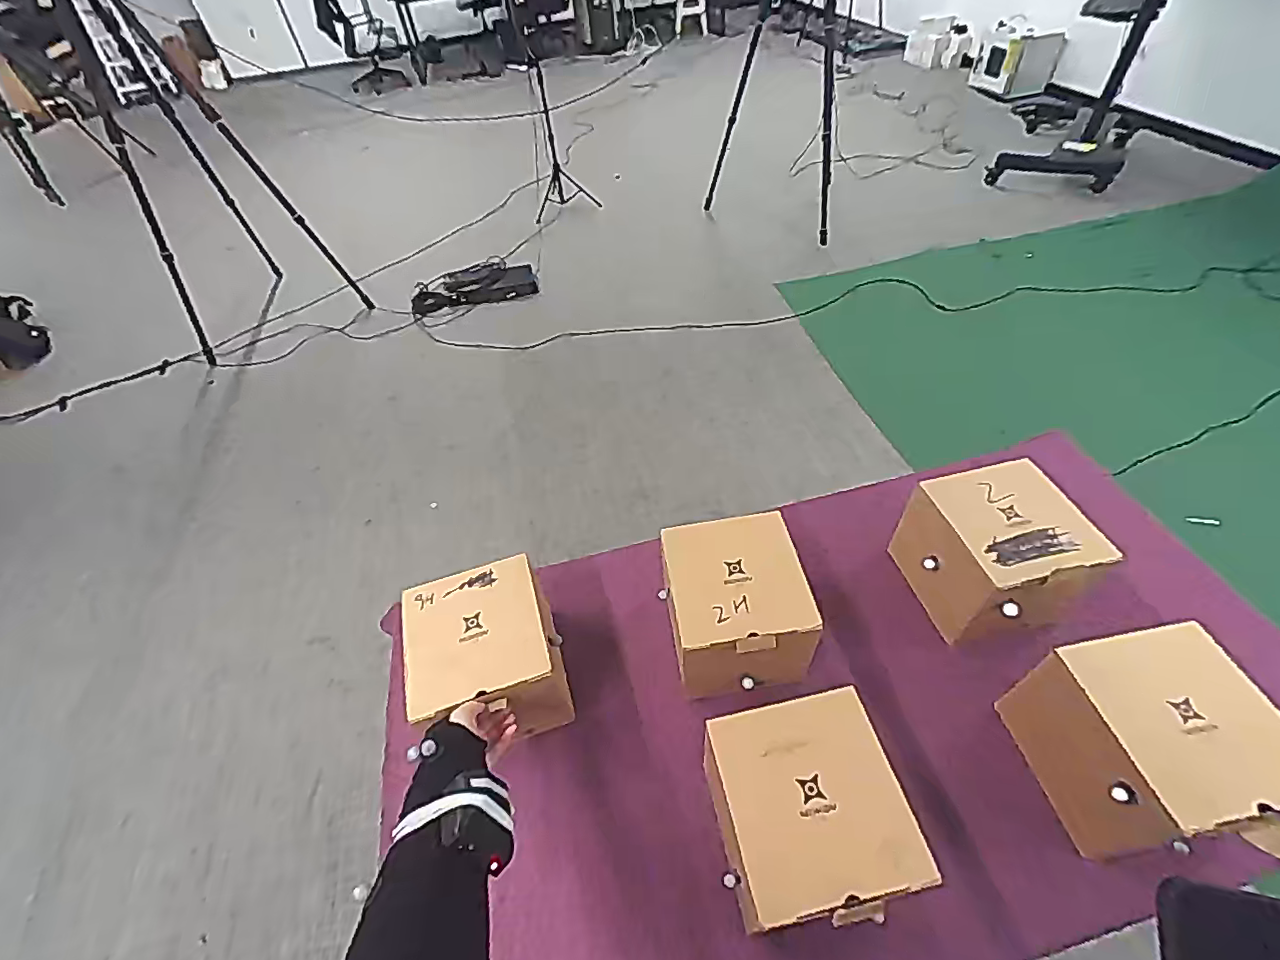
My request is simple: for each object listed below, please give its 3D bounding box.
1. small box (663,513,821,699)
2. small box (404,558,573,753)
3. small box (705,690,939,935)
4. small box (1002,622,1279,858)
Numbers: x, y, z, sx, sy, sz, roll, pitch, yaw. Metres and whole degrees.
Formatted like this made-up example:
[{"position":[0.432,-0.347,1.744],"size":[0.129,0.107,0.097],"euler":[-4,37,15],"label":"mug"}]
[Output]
[{"position":[0.125,0.172,0.733],"size":[0.168,0.176,0.179],"euler":[-9,49,-1],"label":"small box"},{"position":[-0.195,0.238,0.715],"size":[0.168,0.176,0.179],"euler":[-17,50,-9],"label":"small box"},{"position":[0.171,0.353,0.572],"size":[0.168,0.176,0.179],"euler":[-12,48,-4],"label":"small box"},{"position":[0.544,0.283,0.586],"size":[0.168,0.176,0.179],"euler":[-11,49,-2],"label":"small box"}]
